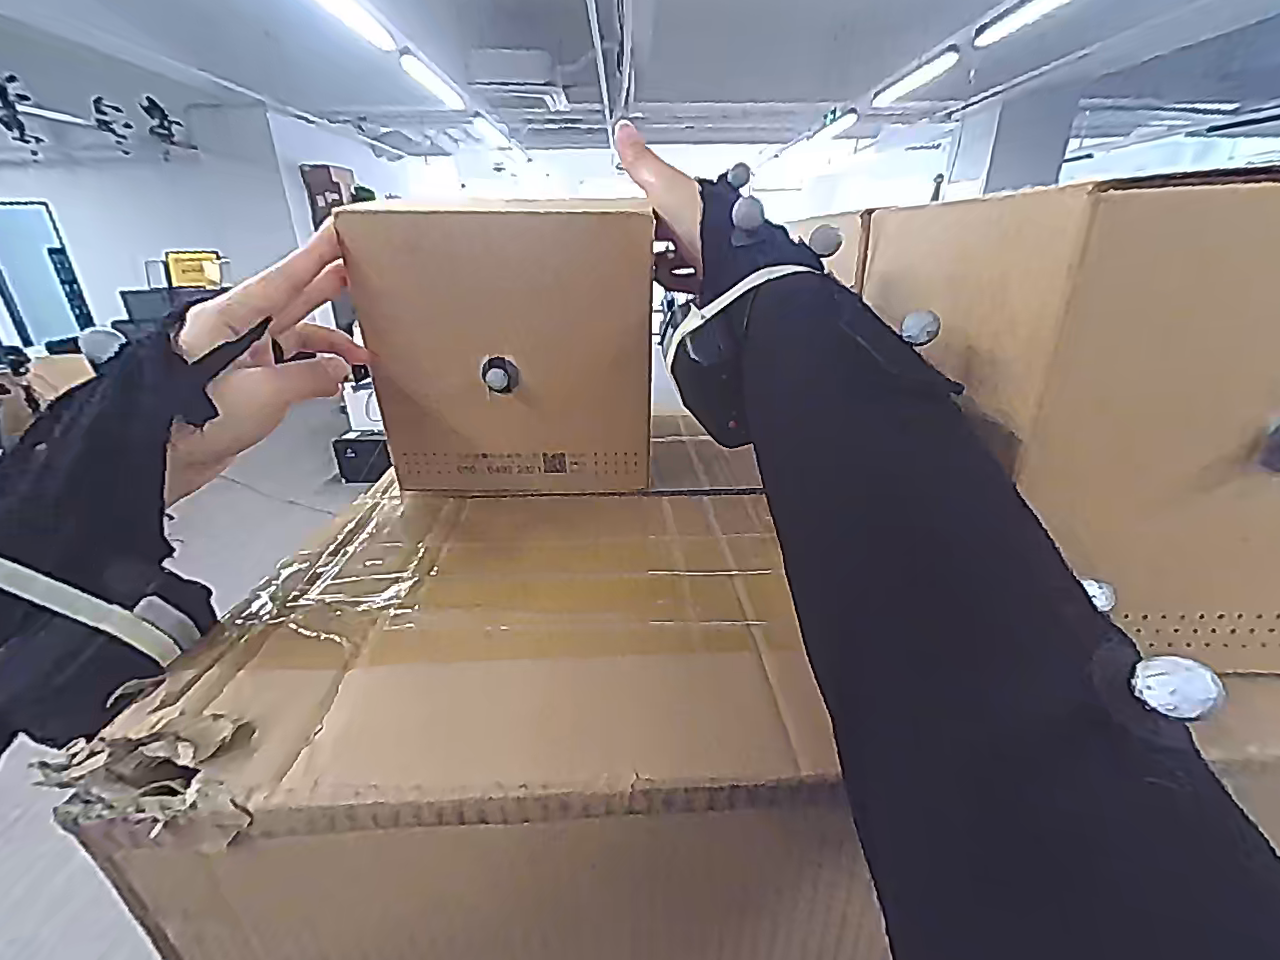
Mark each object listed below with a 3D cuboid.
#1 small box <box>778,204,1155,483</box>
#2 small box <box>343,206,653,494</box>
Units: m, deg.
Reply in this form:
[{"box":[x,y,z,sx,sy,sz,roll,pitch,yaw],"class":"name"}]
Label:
[{"box":[0.207,-0.102,0.405,0.179,0.176,0.168,-1,23,-1],"class":"small box"},{"box":[-0.074,-0.100,0.390,0.168,0.176,0.179,0,28,-1],"class":"small box"}]
